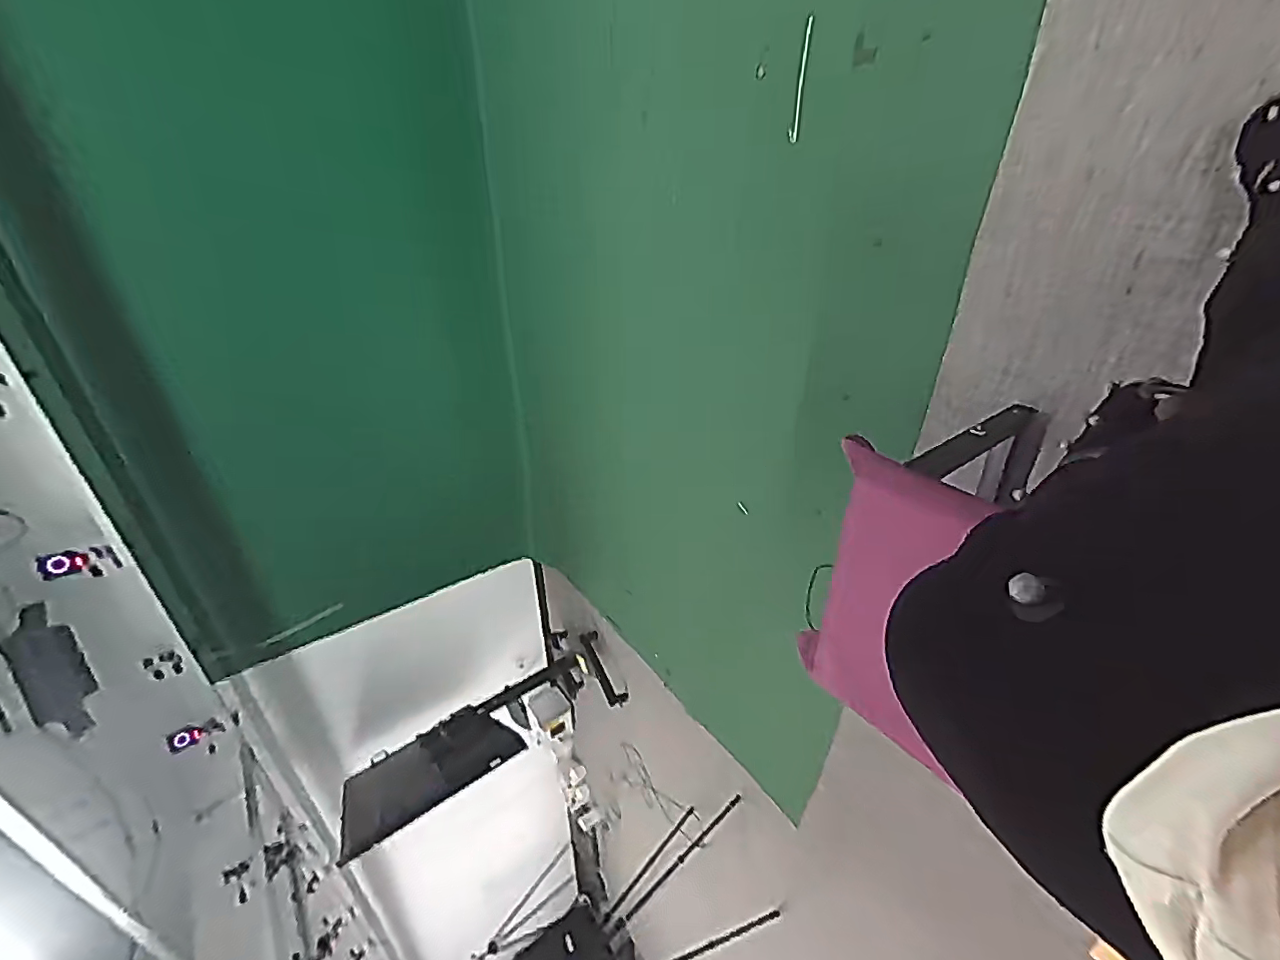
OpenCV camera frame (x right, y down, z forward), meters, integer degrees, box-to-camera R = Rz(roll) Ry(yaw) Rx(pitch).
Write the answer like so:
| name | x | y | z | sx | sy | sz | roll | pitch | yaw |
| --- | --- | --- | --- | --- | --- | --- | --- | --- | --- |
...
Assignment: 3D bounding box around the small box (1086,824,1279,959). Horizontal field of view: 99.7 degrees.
| name | x | y | z | sx | sy | sz | roll | pitch | yaw |
| --- | --- | --- | --- | --- | --- | --- | --- | --- | --- |
| small box | 0.805 | 0.657 | 0.783 | 0.168 | 0.176 | 0.179 | 33 | 133 | 46 |
